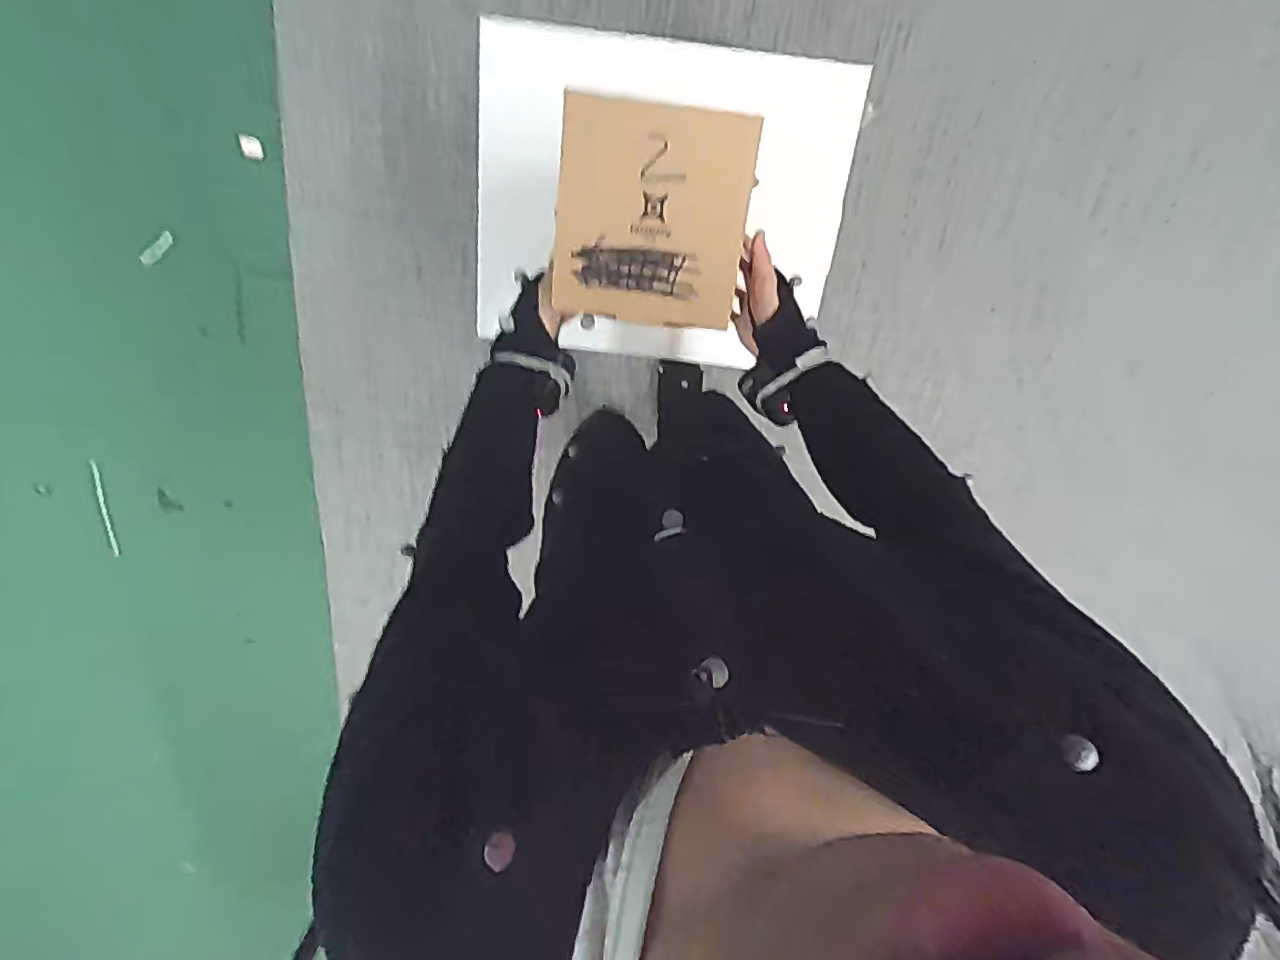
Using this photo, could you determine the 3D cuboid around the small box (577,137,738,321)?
[{"bbox_3d":[0.018,-0.303,0.685,0.168,0.176,0.179,7,109,0],"label":"small box"}]
